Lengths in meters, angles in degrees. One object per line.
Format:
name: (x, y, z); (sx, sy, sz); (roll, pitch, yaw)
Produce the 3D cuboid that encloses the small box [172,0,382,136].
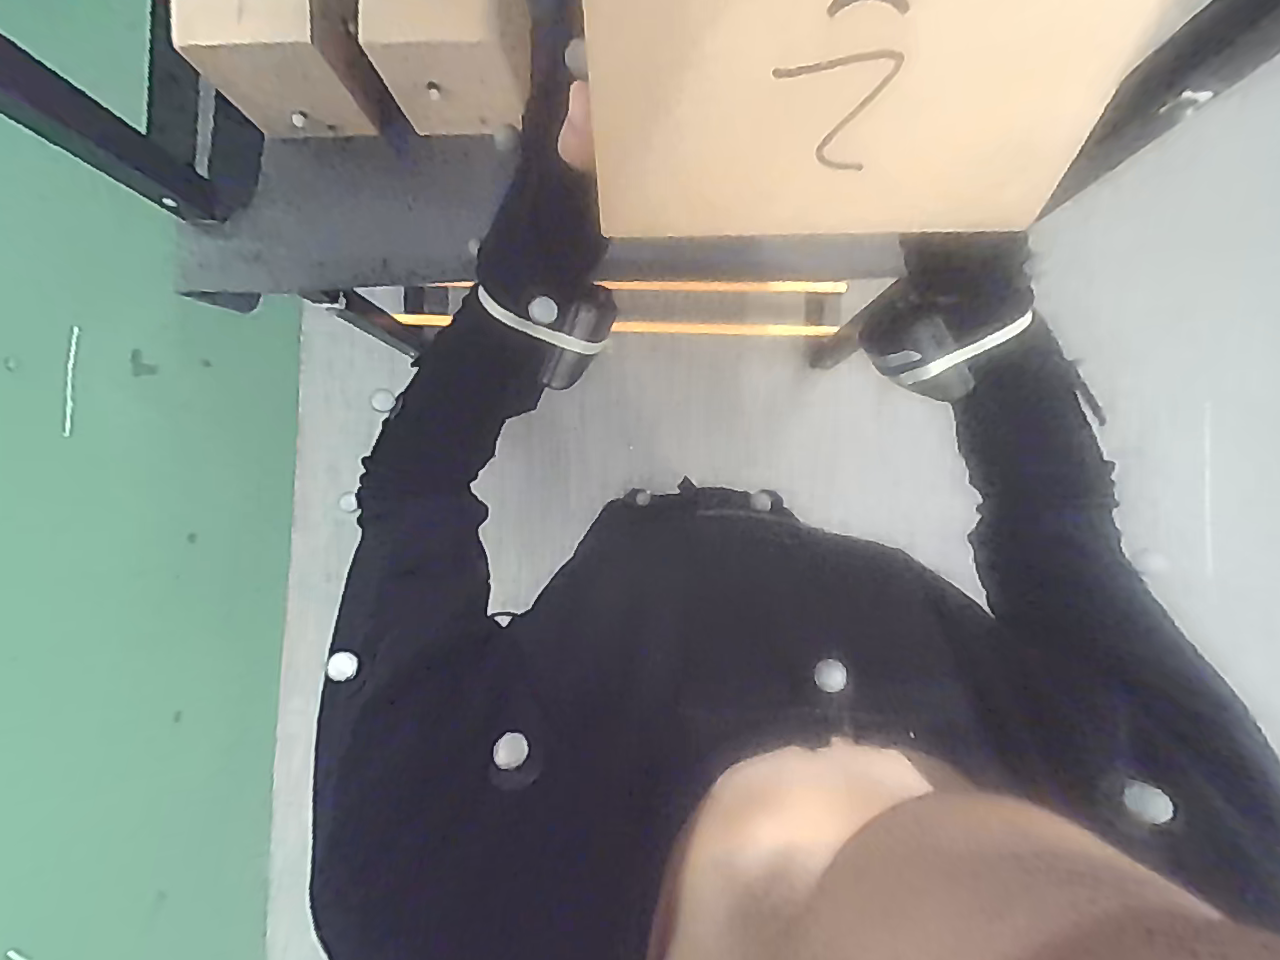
small box: (-0.459, -0.590, 0.708); (0.168, 0.176, 0.179); (-1, 89, 1)
